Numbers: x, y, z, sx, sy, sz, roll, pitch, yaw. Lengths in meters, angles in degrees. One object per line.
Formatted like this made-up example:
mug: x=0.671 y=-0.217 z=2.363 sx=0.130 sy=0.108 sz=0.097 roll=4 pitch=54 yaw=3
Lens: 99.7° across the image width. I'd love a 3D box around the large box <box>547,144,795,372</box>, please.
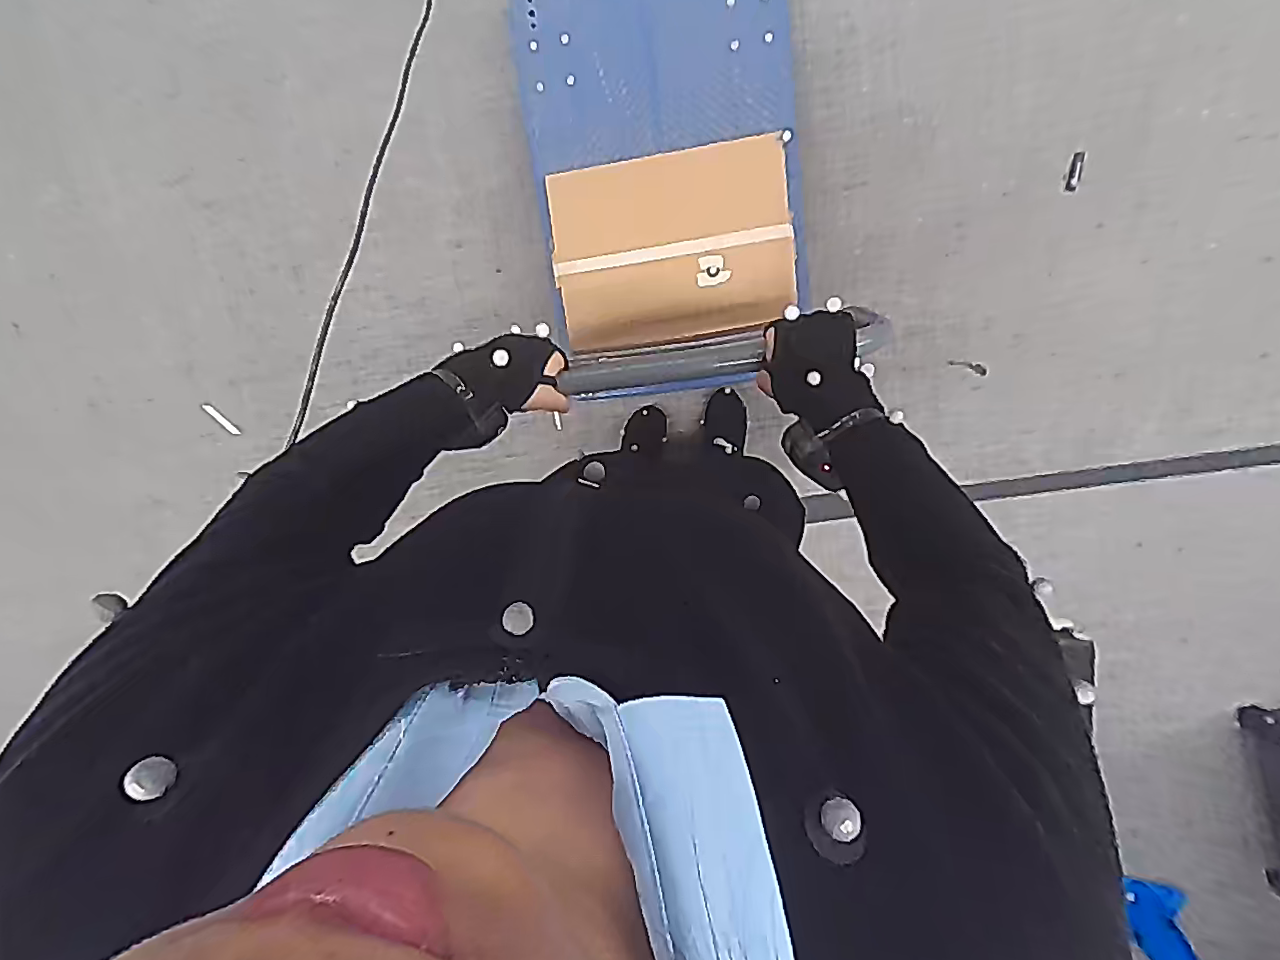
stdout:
large box: x=0.067 y=-0.402 z=1.079 sx=0.408 sy=0.320 sz=0.320 roll=-6 pitch=99 yaw=7
